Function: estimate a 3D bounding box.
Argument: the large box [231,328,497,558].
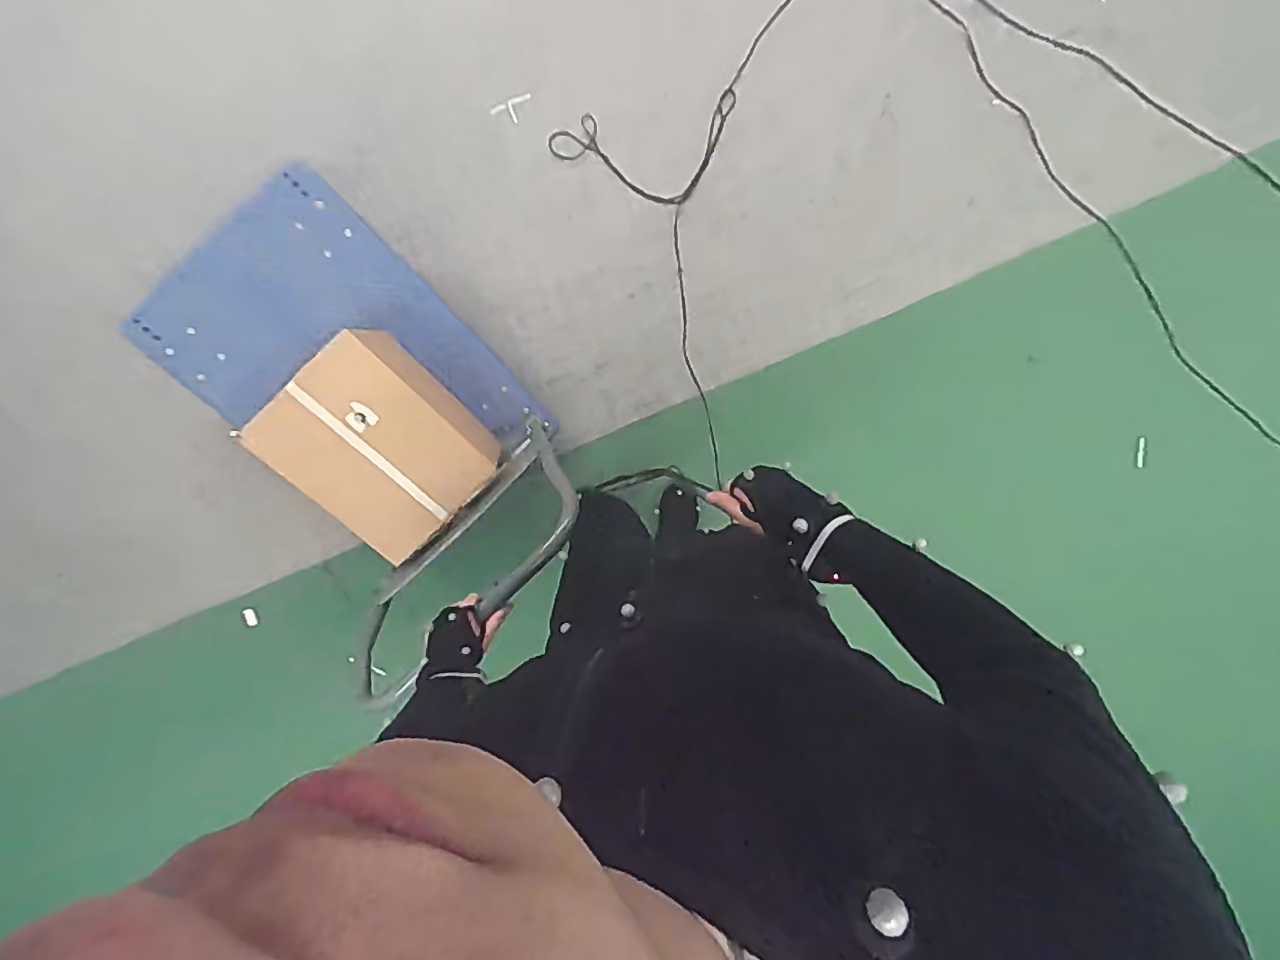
[{"bbox_3d":[-0.591,-0.097,1.254,0.320,0.320,0.408,-45,108,1],"label":"large box"}]
